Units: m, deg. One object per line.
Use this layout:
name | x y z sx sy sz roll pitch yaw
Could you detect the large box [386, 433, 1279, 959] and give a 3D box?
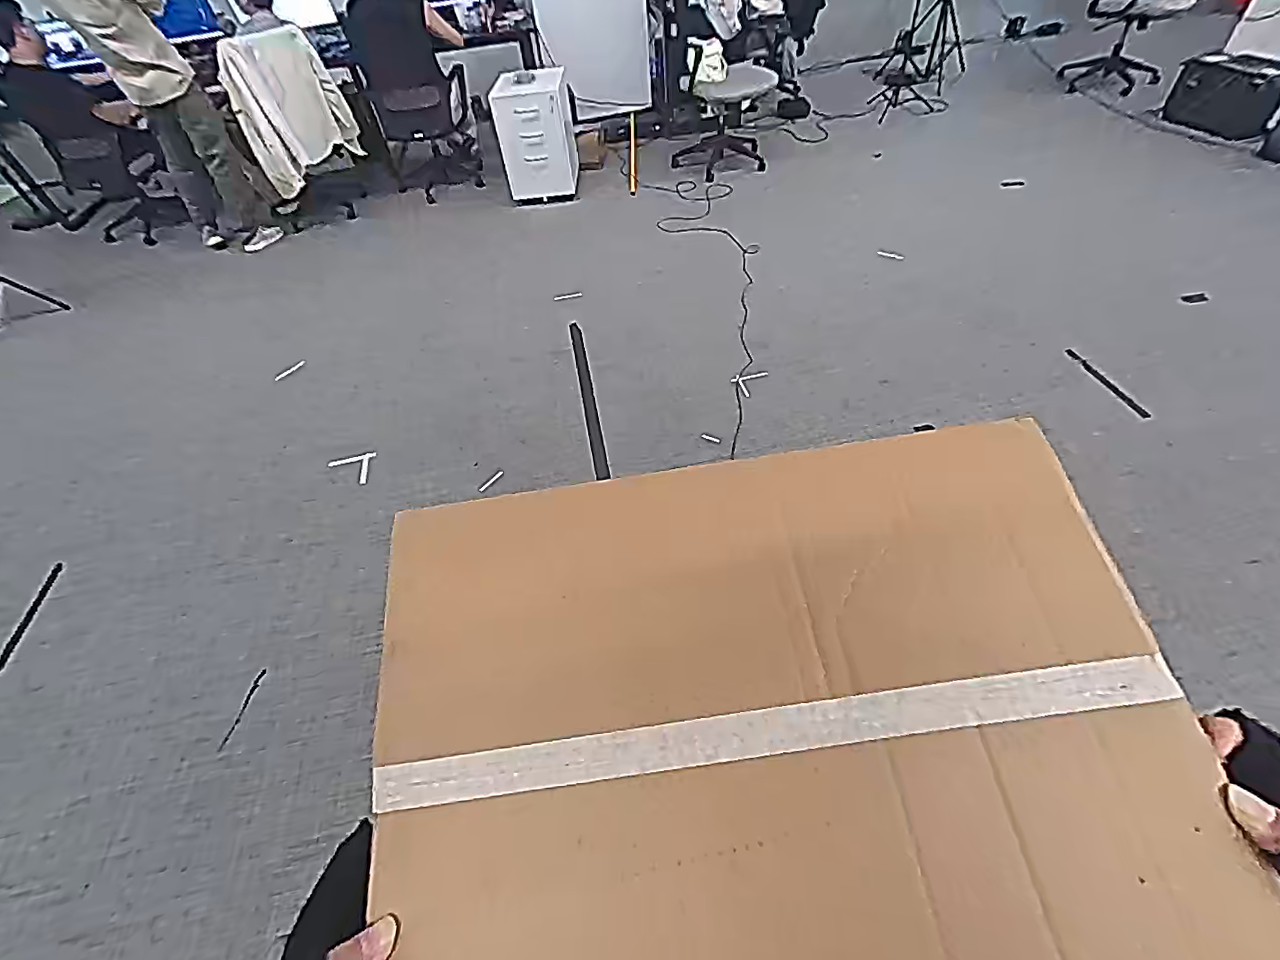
large box | 0.078 0.202 0.417 0.408 0.320 0.320 -9 64 1
